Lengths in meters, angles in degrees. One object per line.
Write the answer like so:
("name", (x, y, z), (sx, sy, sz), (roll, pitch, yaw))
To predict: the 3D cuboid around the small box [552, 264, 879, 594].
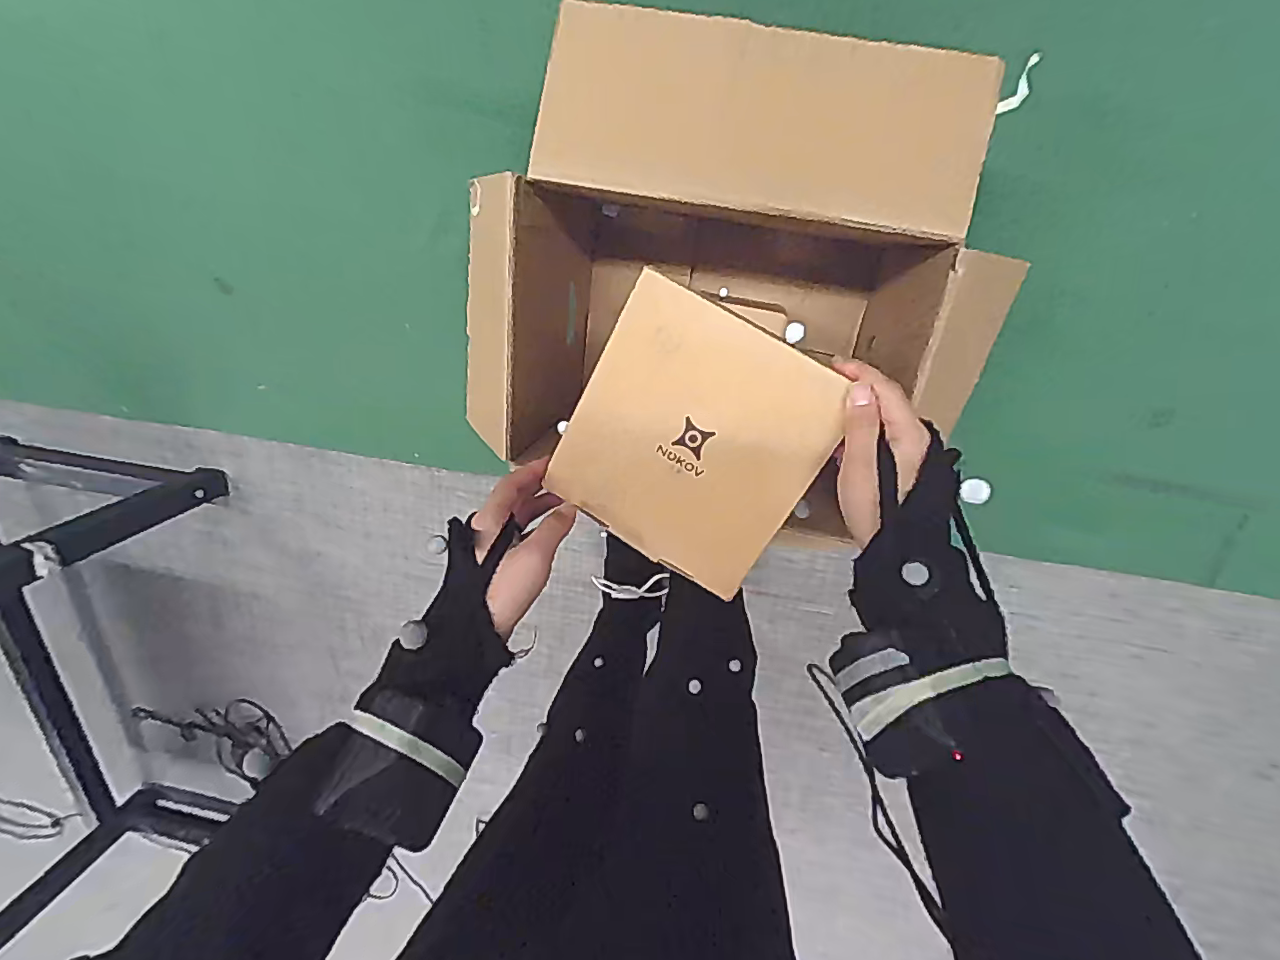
("small box", (0.060, -0.048, 0.443), (0.168, 0.176, 0.179), (31, 110, 5))
